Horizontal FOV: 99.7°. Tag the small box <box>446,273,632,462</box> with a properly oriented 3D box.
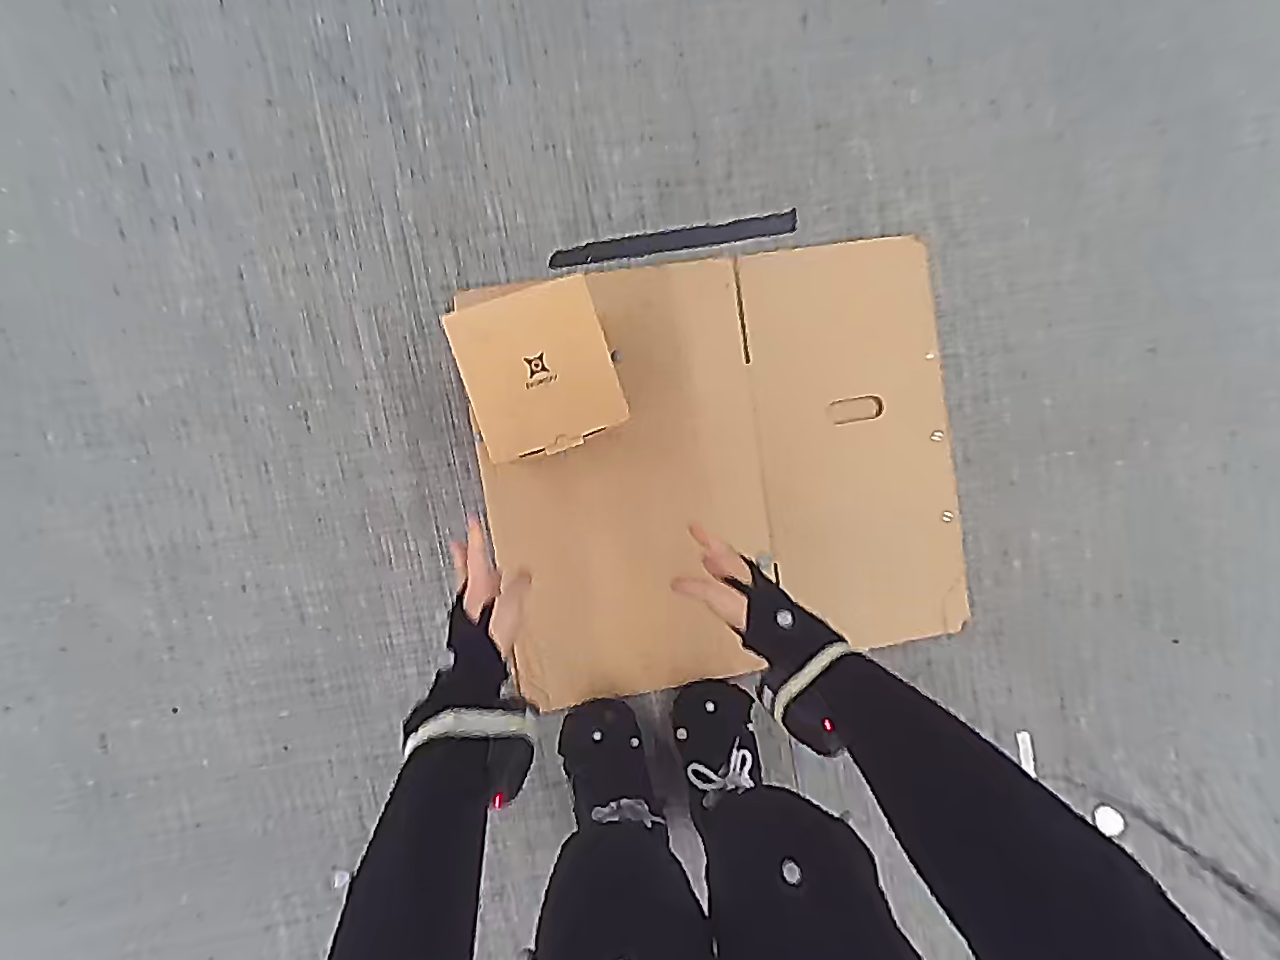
[{"bbox_3d":[-0.118,-0.128,0.680,0.168,0.176,0.179,-19,95,-3],"label":"small box"}]
